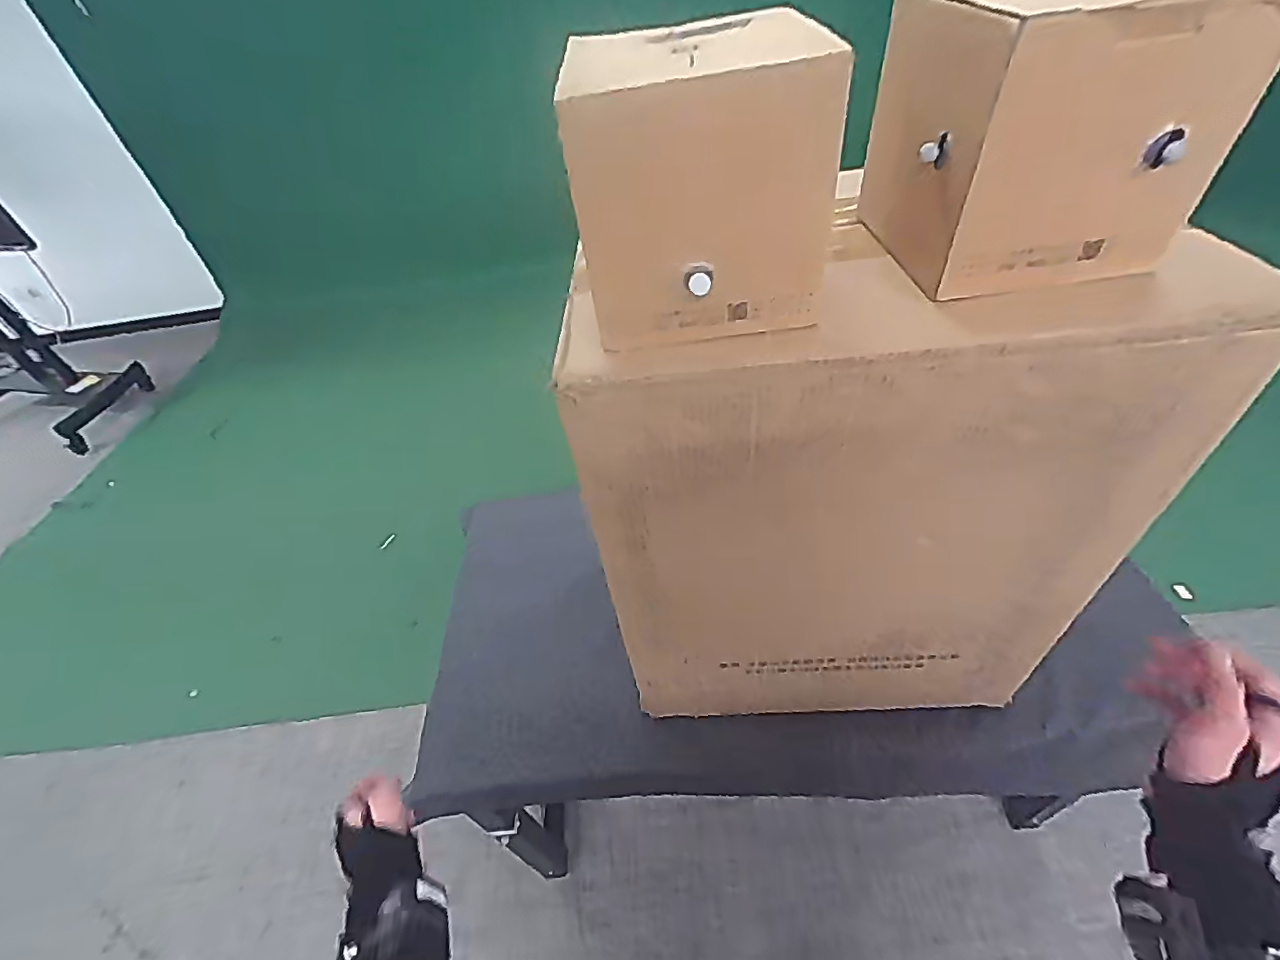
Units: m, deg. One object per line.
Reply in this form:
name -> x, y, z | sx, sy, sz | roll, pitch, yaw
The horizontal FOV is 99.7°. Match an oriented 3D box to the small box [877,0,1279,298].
small box -> 0.303, -0.248, 0.399 | 0.168, 0.176, 0.179 | -6, 46, -1

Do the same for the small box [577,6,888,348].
small box -> 0.058, -0.219, 0.398 | 0.168, 0.176, 0.179 | -4, 47, 6
